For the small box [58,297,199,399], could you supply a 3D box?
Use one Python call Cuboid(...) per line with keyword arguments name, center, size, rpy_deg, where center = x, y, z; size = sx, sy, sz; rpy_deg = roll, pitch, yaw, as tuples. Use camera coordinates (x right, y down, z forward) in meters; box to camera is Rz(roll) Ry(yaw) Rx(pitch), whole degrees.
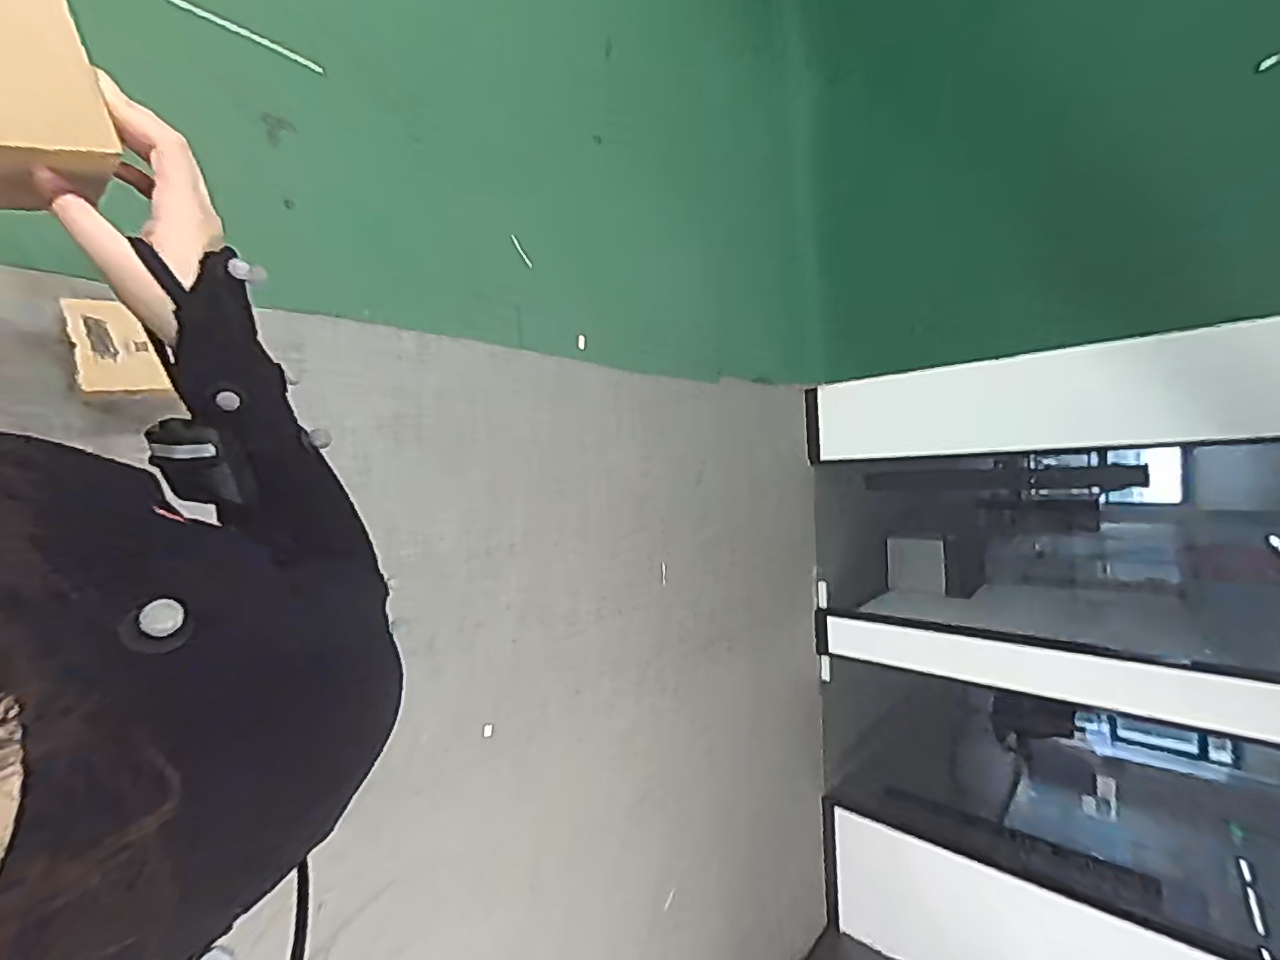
Cuboid(name="small box", center=(-1.008, -0.253, 1.069), size=(0.179, 0.176, 0.168), rpy_deg=(-13, 100, -47))
